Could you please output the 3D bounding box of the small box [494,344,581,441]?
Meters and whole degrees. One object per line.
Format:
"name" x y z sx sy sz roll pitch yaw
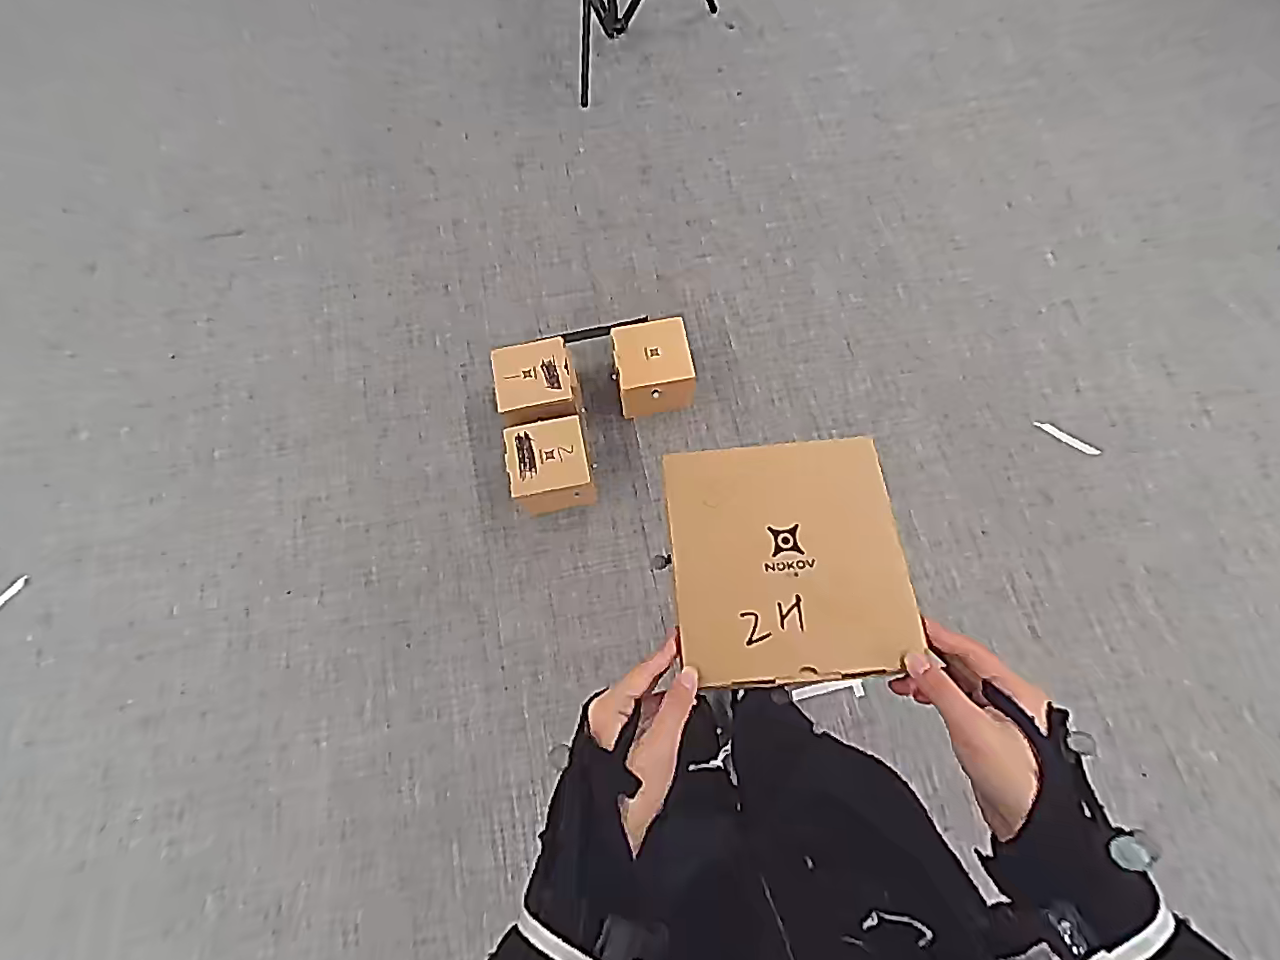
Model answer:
"small box" -0.246 -0.211 1.337 0.179 0.176 0.168 -11 73 -1

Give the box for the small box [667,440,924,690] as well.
"small box" 0.111 0.084 0.473 0.168 0.176 0.179 -5 68 2

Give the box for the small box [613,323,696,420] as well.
"small box" 0.033 -0.265 1.347 0.179 0.176 0.168 -10 73 -1
